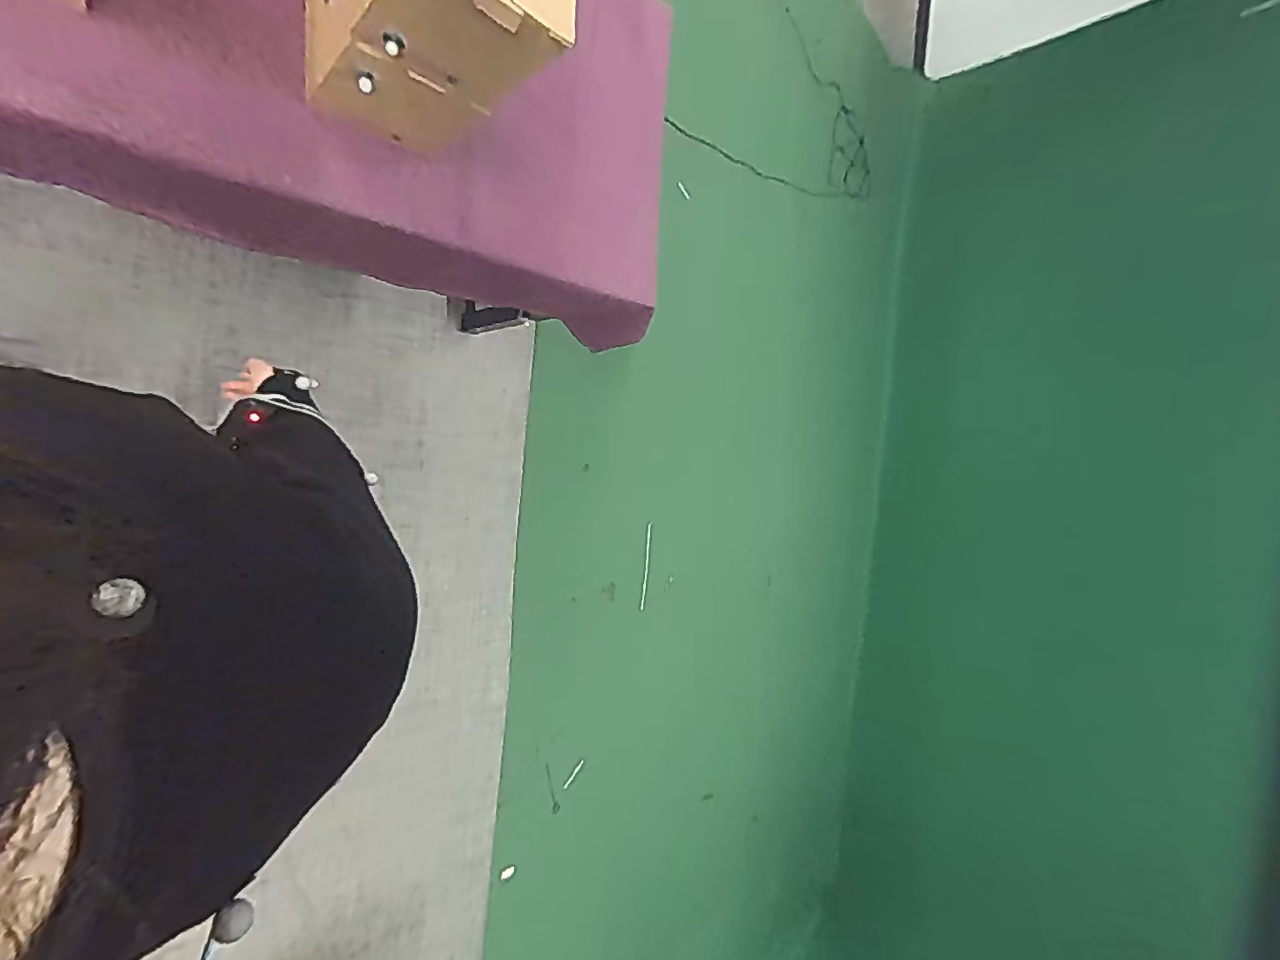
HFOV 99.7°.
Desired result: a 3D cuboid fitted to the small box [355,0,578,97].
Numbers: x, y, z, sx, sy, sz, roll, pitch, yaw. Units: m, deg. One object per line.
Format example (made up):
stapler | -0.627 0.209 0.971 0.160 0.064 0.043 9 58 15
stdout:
small box | -0.178 -0.542 0.550 0.168 0.176 0.179 -2 94 -46
